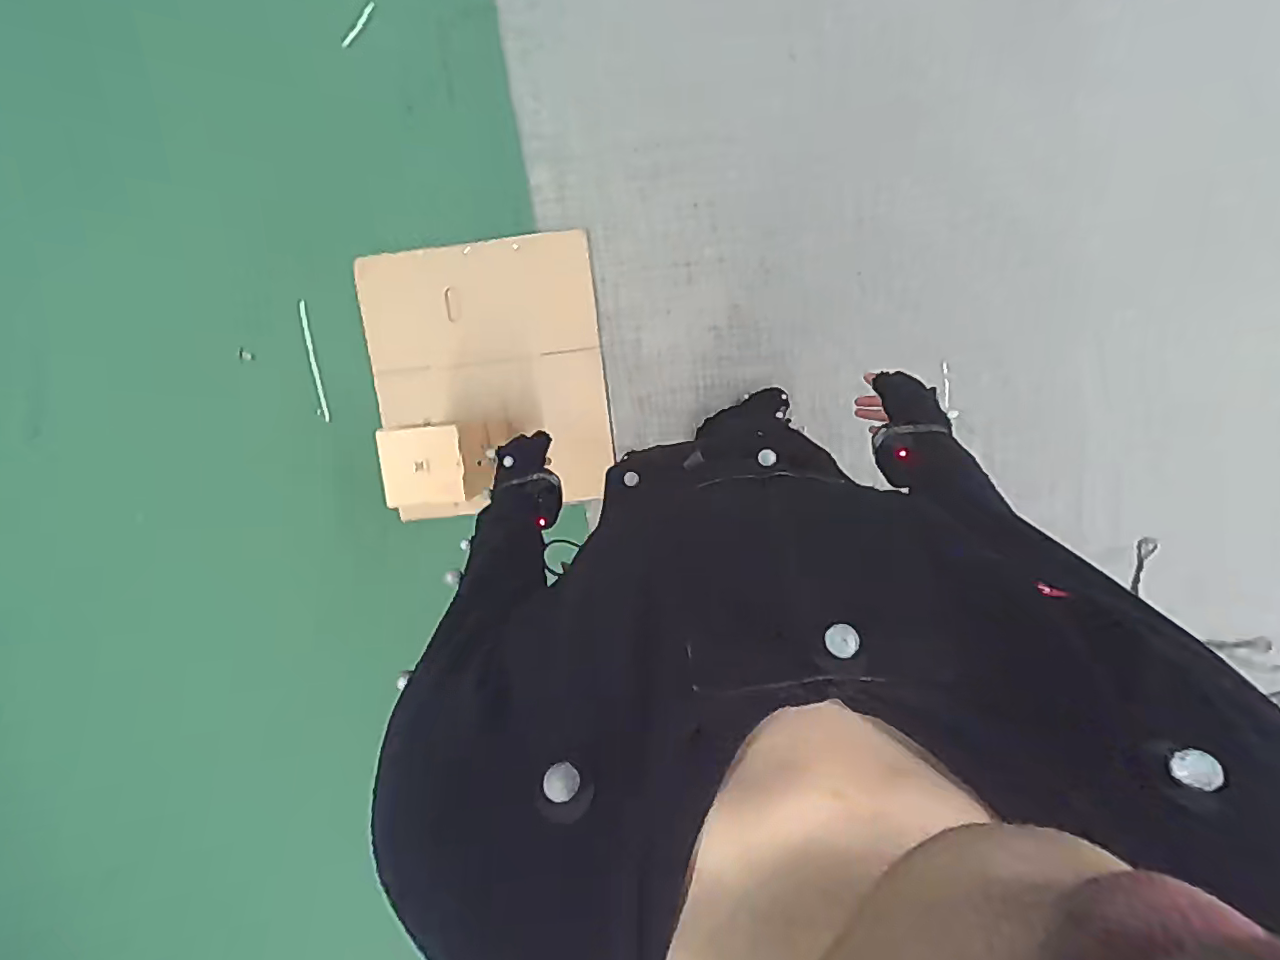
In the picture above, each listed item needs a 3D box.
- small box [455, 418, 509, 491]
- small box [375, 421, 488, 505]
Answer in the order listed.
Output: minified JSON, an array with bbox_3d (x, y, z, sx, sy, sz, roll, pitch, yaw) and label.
[{"bbox_3d":[-0.440,-0.065,1.366,0.179,0.176,0.168,-5,100,3],"label":"small box"},{"bbox_3d":[-0.456,-0.043,1.206,0.179,0.176,0.168,-4,99,2],"label":"small box"}]
